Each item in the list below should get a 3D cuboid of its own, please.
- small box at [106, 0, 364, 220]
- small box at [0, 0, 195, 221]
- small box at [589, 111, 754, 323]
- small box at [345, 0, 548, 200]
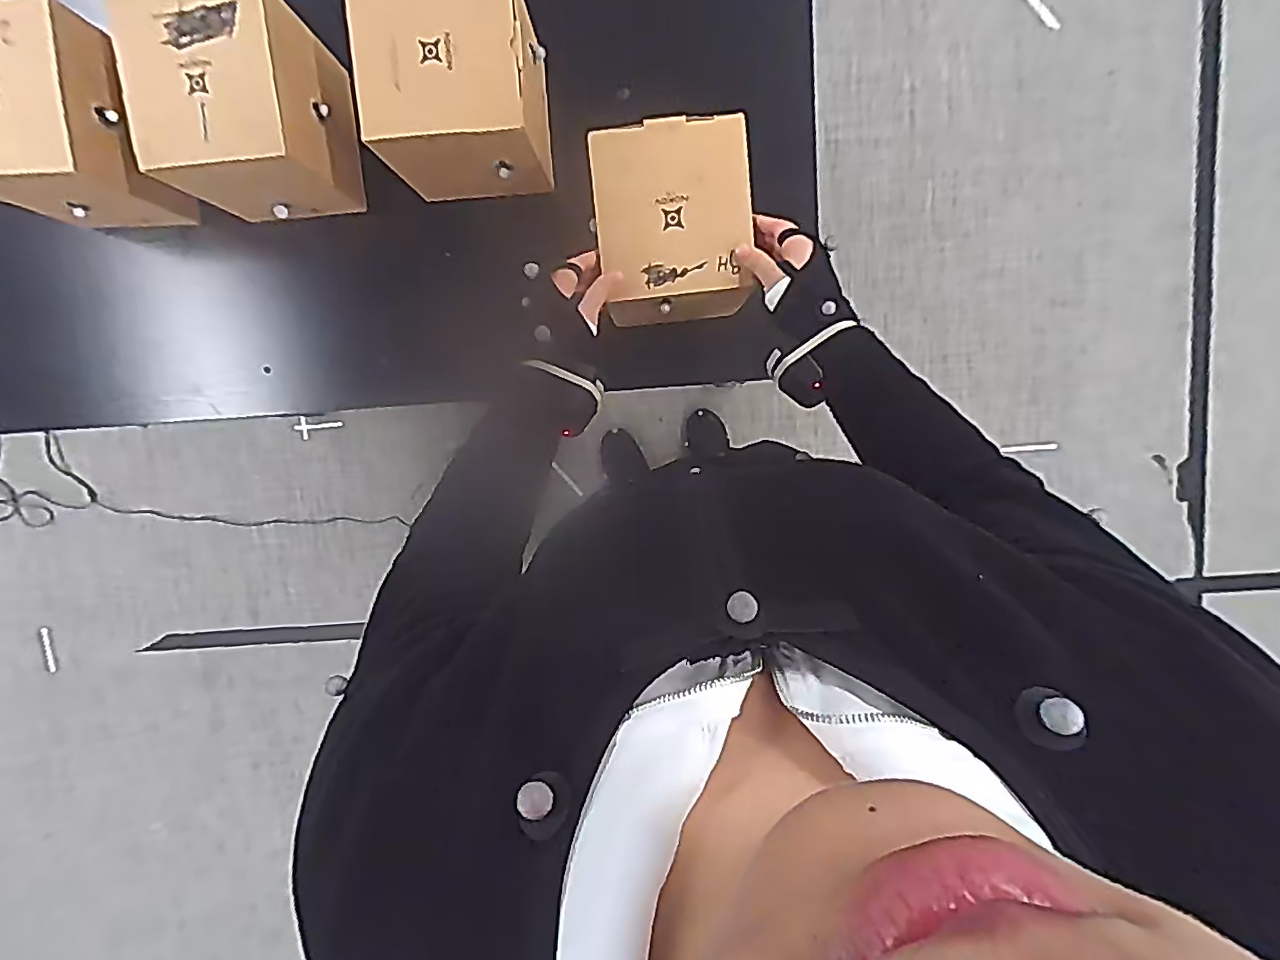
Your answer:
[{"bbox_3d":[-0.457,-0.432,0.640,0.168,0.176,0.179,-5,99,1],"label":"small box"},{"bbox_3d":[-0.681,-0.423,0.647,0.168,0.176,0.179,-1,97,0],"label":"small box"},{"bbox_3d":[0.036,-0.297,0.648,0.168,0.176,0.179,-6,97,3],"label":"small box"},{"bbox_3d":[-0.210,-0.451,0.635,0.179,0.176,0.168,-4,96,3],"label":"small box"}]
